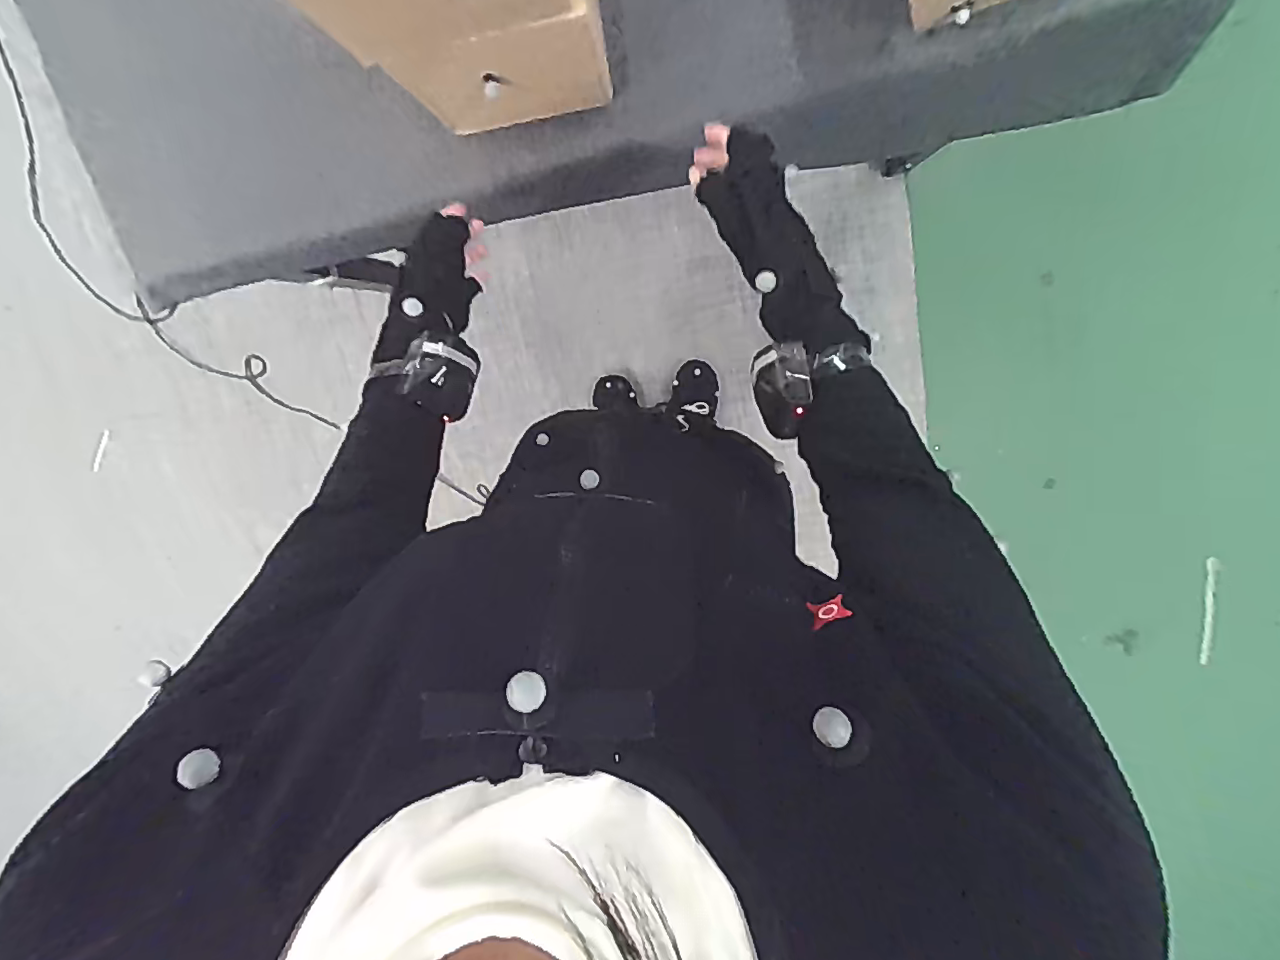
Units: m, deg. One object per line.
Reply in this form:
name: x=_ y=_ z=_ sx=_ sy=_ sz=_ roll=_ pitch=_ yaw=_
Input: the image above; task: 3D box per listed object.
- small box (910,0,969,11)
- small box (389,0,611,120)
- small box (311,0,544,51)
small box: x=0.316 y=-0.531 z=0.434 sx=0.168 sy=0.176 sz=0.179 roll=-15 pitch=103 yaw=8
small box: x=-0.133 y=-0.458 z=0.489 sx=0.179 sy=0.176 sz=0.168 roll=-7 pitch=104 yaw=6
small box: x=-0.156 y=-0.415 z=0.334 sx=0.179 sy=0.176 sz=0.168 roll=-9 pitch=103 yaw=7
